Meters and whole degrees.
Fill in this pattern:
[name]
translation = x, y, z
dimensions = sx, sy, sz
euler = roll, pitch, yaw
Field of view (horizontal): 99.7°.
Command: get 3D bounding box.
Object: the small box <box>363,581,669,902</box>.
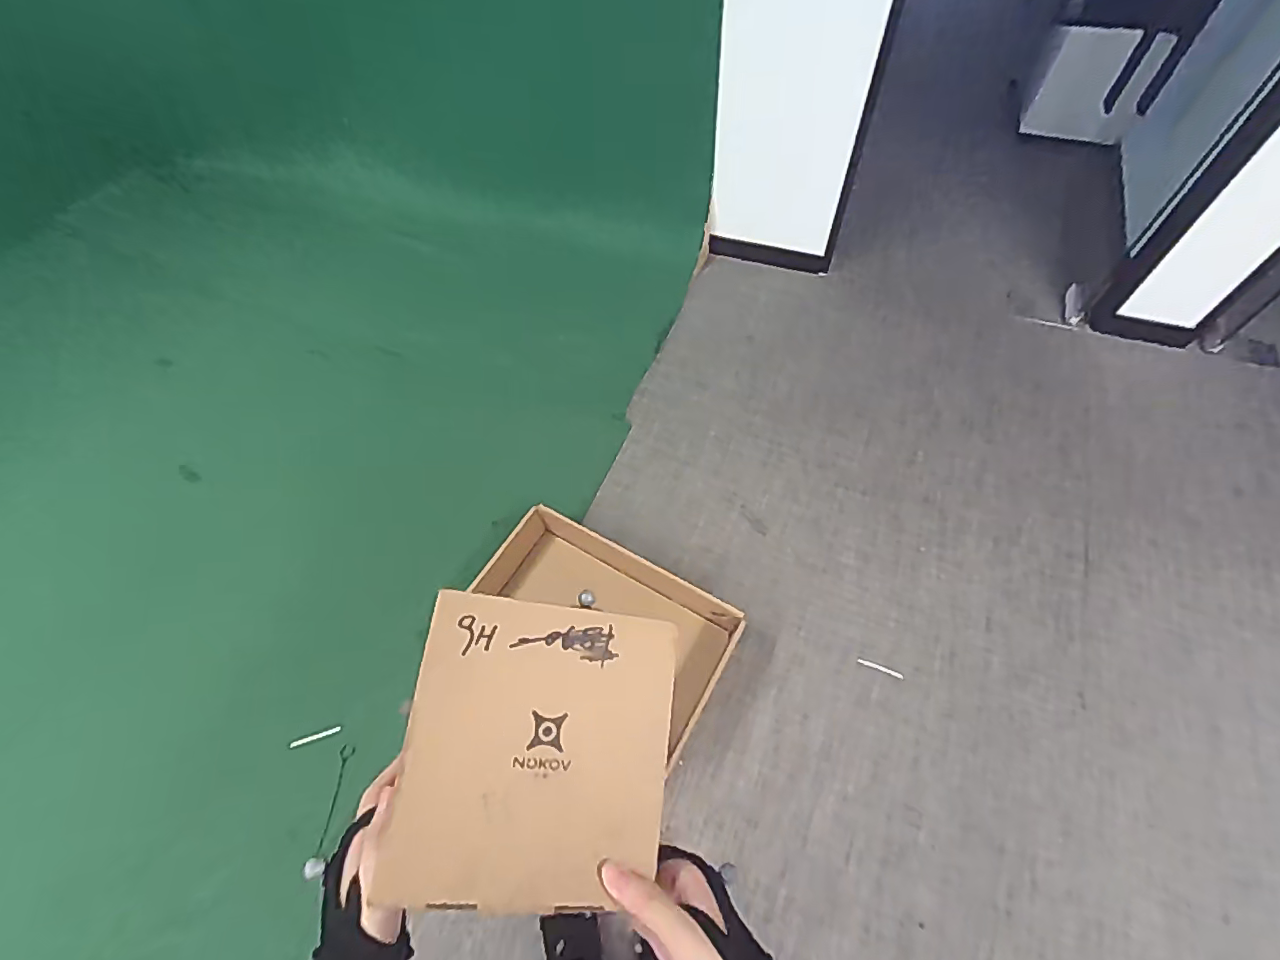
[small box]
translation = -0.089, 0.185, 0.420
dimensions = 0.168, 0.176, 0.179
euler = 12, 71, -13
